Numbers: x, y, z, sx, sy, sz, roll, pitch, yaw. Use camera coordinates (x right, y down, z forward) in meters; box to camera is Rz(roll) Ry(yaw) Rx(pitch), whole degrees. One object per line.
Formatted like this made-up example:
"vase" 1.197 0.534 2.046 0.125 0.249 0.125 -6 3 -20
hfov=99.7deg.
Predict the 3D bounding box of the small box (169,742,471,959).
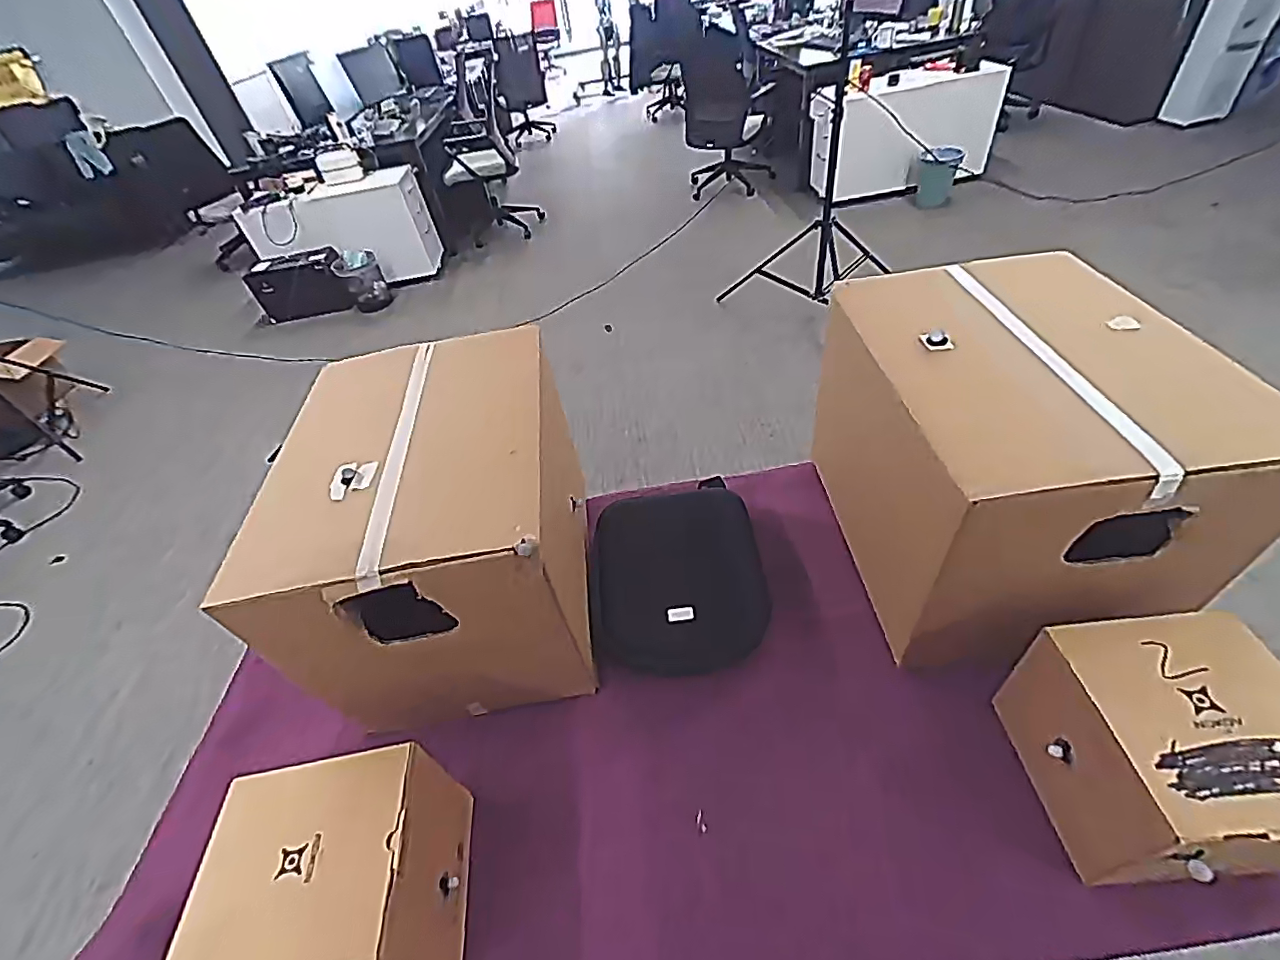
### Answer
"small box" -0.280 0.382 0.515 0.179 0.176 0.168 -12 43 -2

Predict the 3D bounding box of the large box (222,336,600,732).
"large box" -0.246 0.063 0.736 0.320 0.320 0.408 -12 46 0
